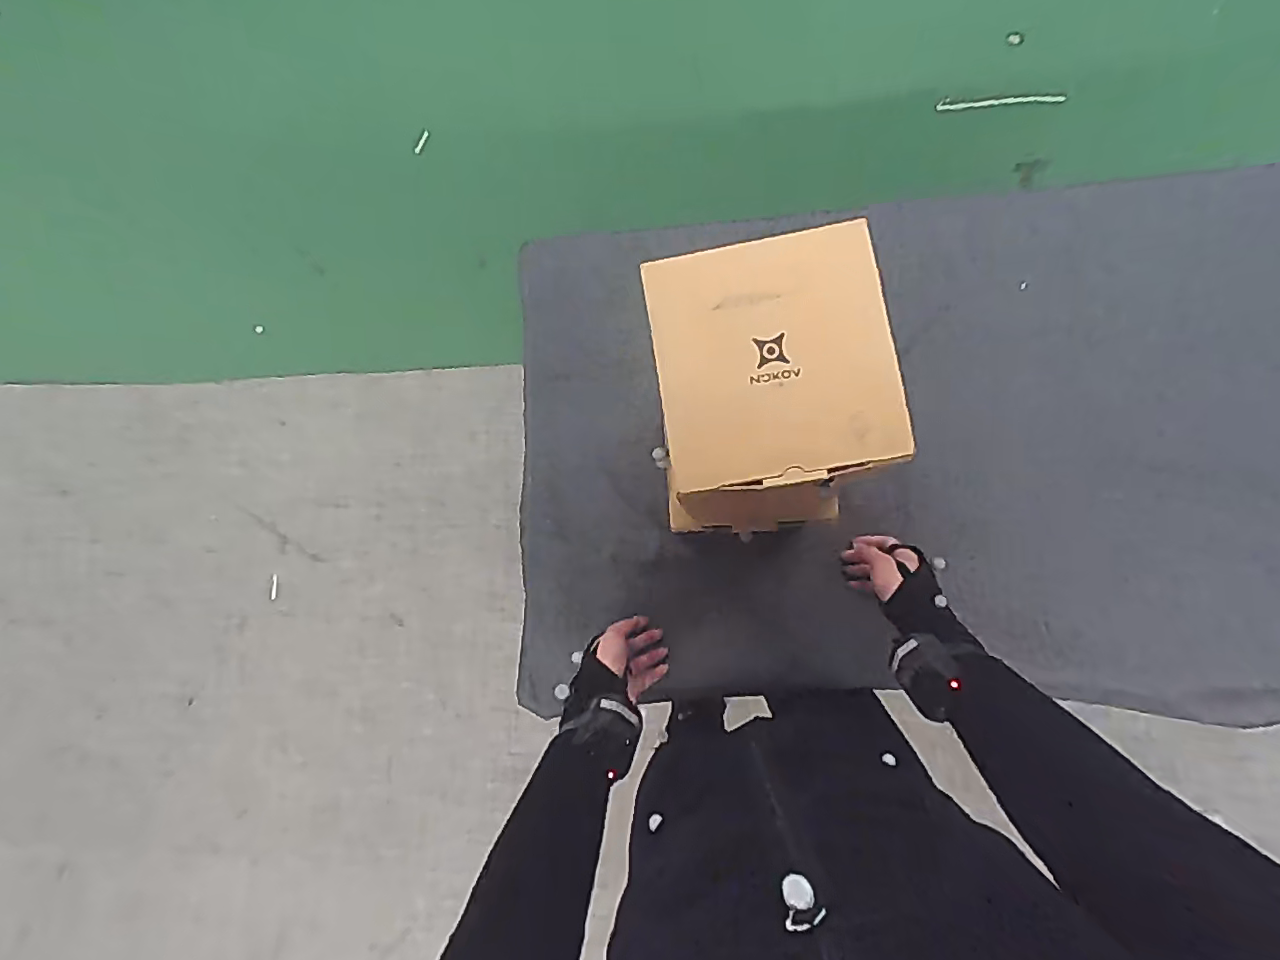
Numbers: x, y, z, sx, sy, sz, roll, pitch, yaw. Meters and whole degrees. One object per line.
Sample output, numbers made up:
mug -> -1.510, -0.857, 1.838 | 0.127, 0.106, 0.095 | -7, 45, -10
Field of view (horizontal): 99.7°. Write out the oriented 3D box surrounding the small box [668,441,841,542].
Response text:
small box -> 0.119, -0.024, 0.616 | 0.168, 0.176, 0.179 | -4, 84, 5

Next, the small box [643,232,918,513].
small box -> 0.103, -0.069, 0.459 | 0.168, 0.176, 0.179 | -10, 81, 4
